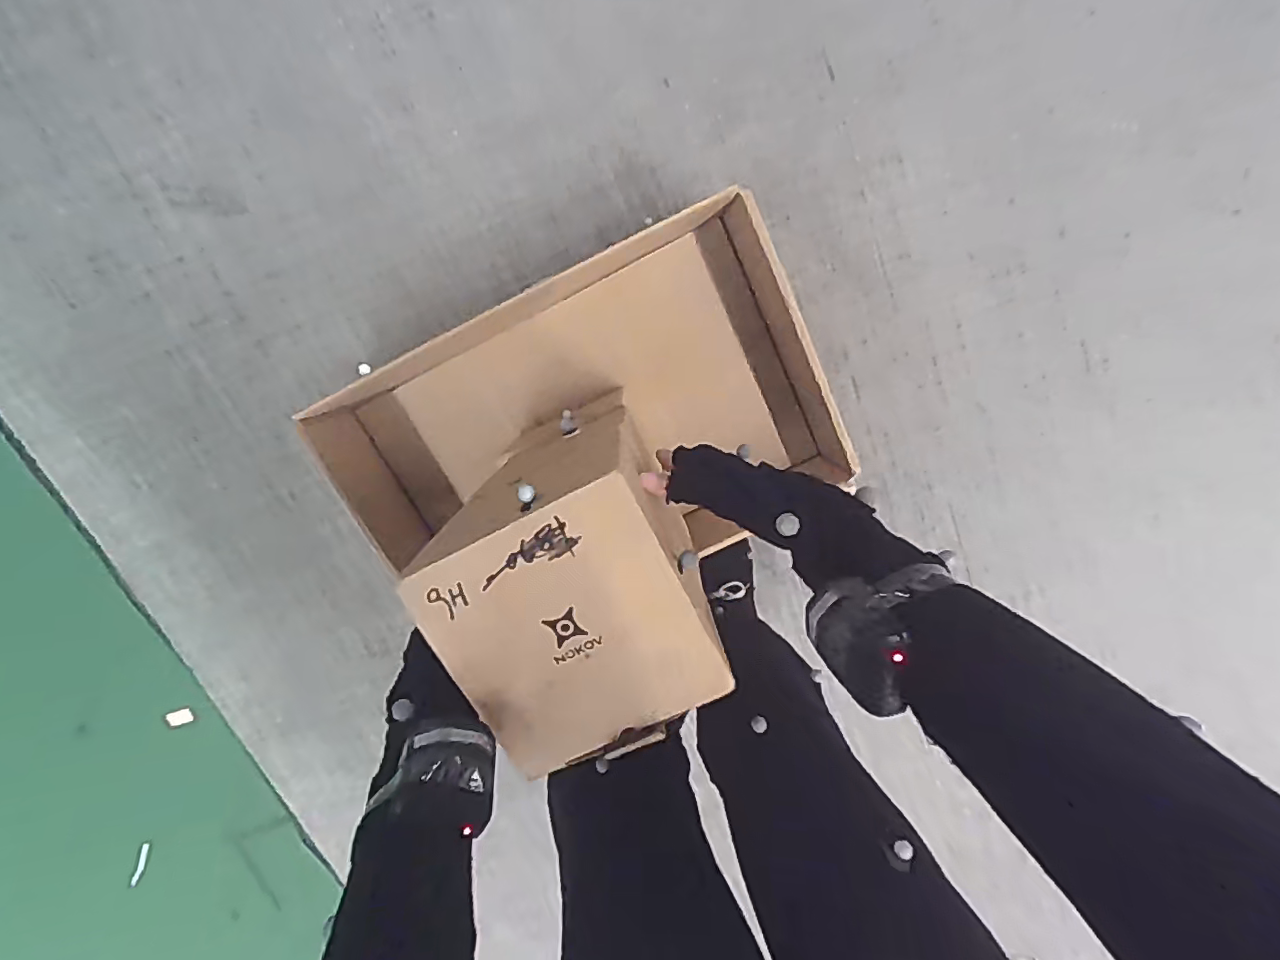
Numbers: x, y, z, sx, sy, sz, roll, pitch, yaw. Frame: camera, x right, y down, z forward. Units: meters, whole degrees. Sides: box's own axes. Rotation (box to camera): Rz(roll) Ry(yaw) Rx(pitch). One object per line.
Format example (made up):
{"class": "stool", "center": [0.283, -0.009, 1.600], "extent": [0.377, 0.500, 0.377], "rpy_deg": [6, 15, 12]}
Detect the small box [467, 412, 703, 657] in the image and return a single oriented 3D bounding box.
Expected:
{"class": "small box", "center": [-0.050, 0.047, 0.586], "extent": [0.168, 0.176, 0.179], "rpy_deg": [-30, 104, 7]}

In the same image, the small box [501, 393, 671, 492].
{"class": "small box", "center": [-0.062, -0.009, 0.754], "extent": [0.179, 0.176, 0.168], "rpy_deg": [-24, 104, 8]}
